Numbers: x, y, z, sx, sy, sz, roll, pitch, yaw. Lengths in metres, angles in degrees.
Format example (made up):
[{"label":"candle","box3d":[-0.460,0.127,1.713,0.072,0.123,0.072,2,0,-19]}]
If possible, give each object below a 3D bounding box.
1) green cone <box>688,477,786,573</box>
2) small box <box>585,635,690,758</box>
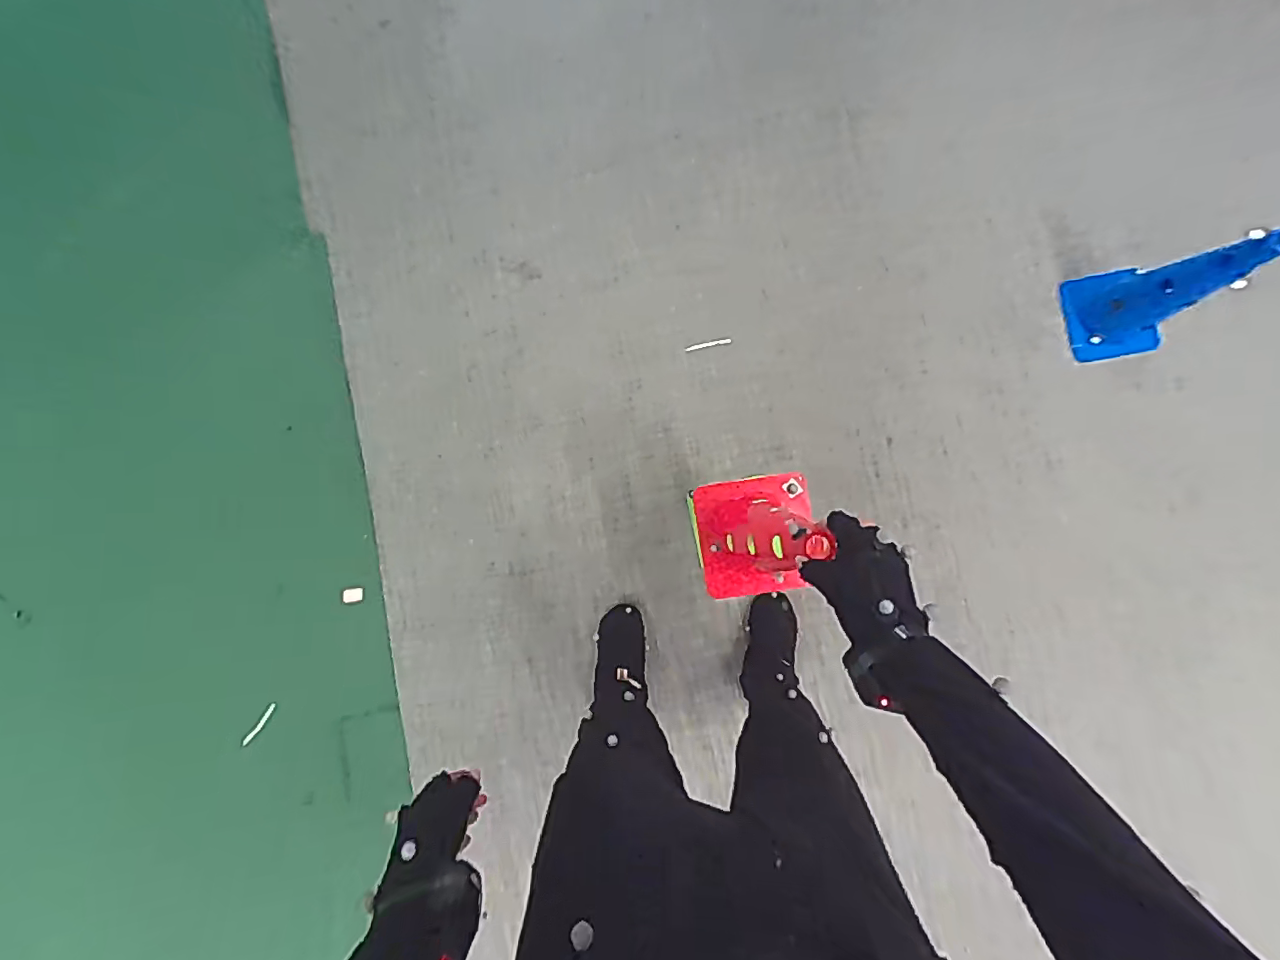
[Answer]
[{"label":"green cone","box3d":[0.219,0.094,1.073,0.202,0.368,0.200,-12,87,0]},{"label":"small box","box3d":[-0.015,0.472,1.200,0.168,0.176,0.179,23,88,-13]}]
